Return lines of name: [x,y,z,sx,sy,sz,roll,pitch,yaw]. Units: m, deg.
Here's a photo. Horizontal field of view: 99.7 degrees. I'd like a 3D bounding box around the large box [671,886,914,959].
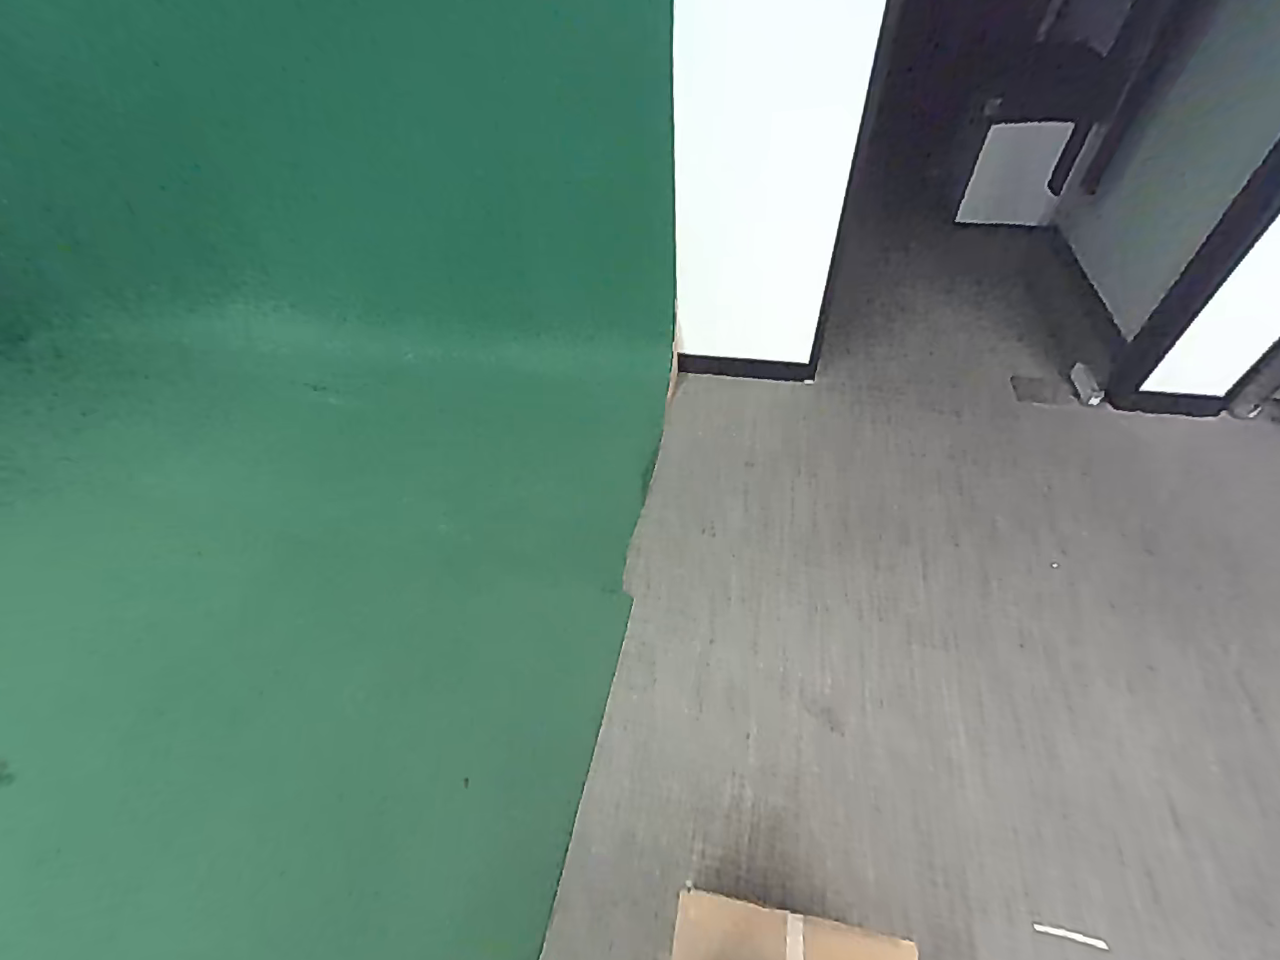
large box: [0.184,0.833,0.717,0.320,0.320,0.408,6,49,11]
